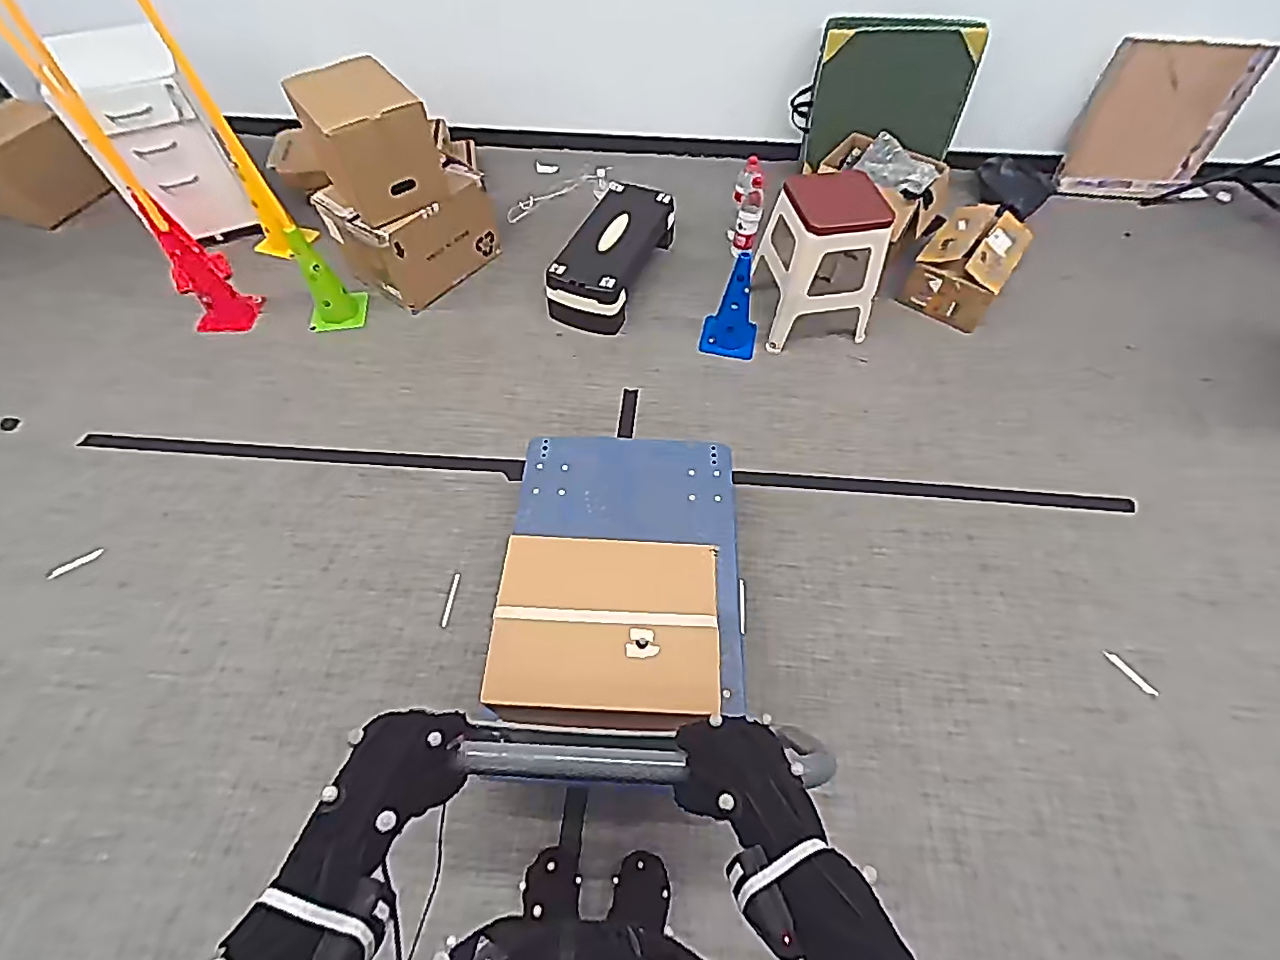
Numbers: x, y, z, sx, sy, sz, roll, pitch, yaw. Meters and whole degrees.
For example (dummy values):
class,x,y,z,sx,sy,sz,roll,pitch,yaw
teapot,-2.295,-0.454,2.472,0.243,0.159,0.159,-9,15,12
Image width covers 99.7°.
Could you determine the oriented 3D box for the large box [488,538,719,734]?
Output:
class,x,y,z,sx,sy,sz,roll,pitch,yaw
large box,-0.066,0.335,1.126,0.408,0.320,0.320,3,58,-1
